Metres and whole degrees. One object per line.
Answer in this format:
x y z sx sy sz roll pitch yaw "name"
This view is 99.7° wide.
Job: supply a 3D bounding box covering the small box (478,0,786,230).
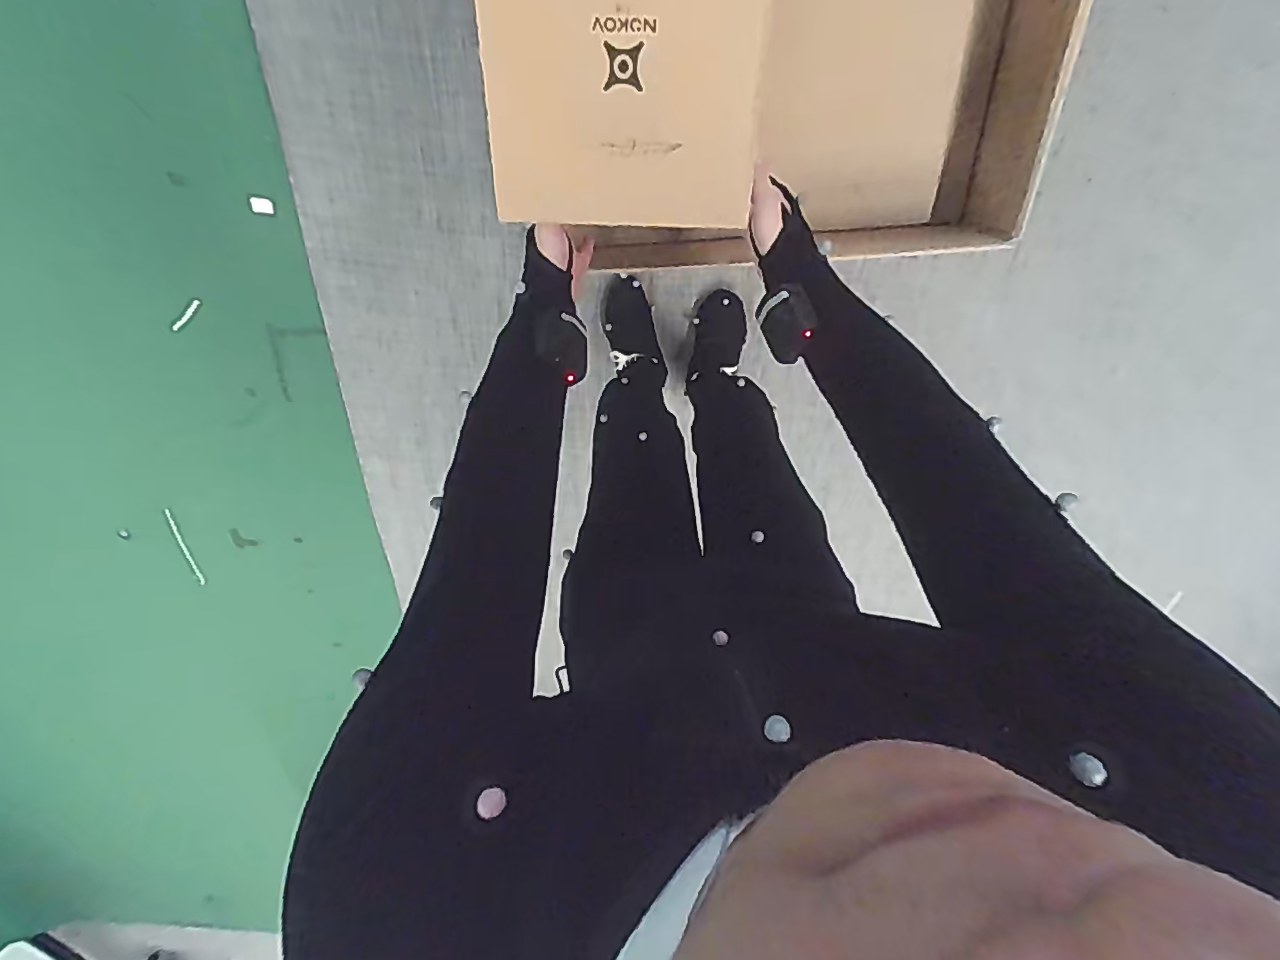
-0.003 -0.278 0.363 0.168 0.176 0.179 3 123 1 "small box"
